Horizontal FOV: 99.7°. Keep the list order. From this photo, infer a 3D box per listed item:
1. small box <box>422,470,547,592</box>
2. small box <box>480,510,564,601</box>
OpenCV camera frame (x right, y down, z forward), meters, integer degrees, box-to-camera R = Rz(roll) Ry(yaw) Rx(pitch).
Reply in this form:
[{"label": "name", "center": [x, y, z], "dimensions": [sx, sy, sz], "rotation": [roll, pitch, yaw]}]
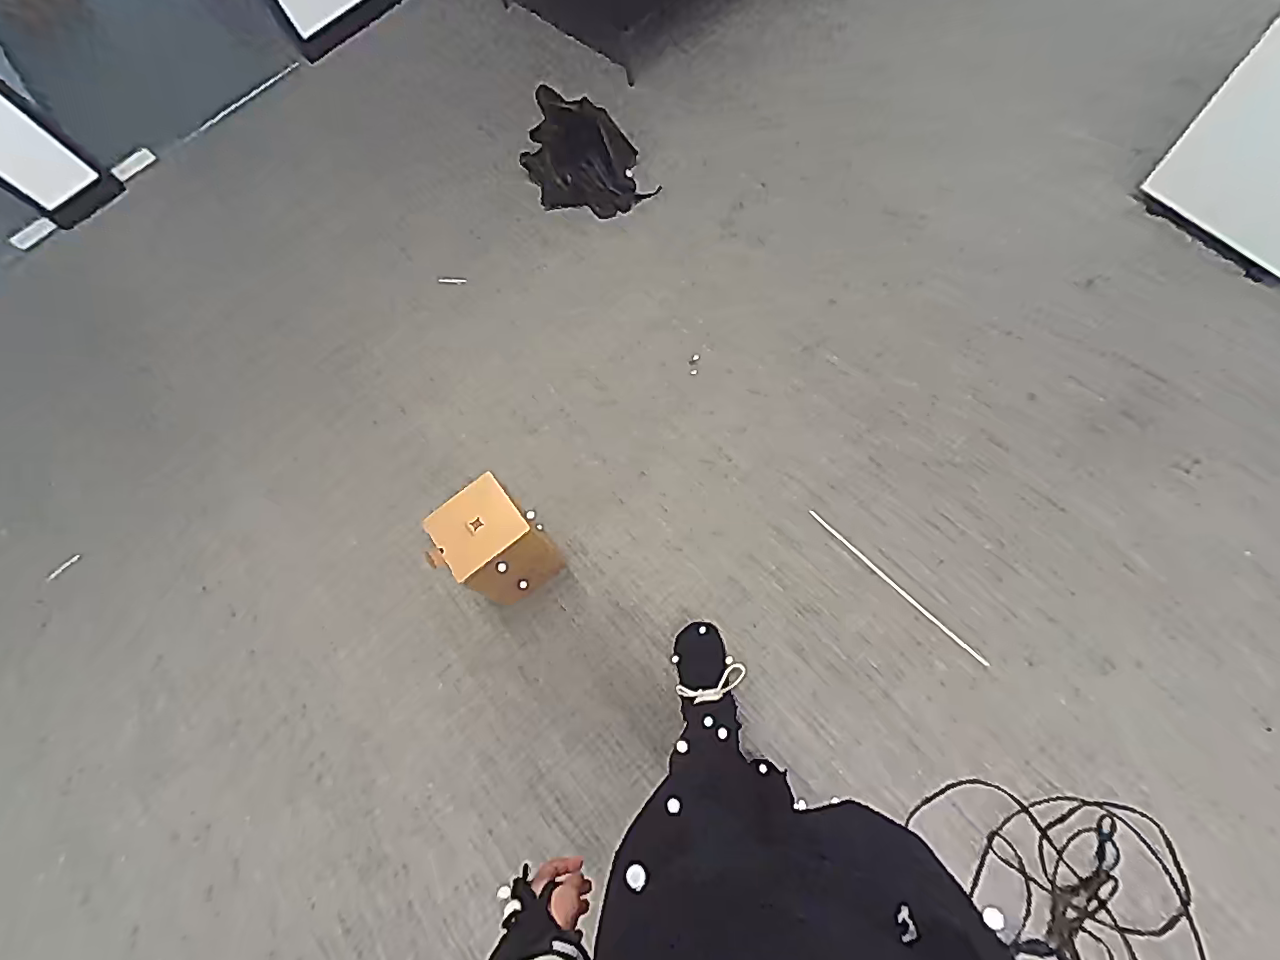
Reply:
[{"label": "small box", "center": [-0.317, 0.113, 1.147], "dimensions": [0.179, 0.176, 0.168], "rotation": [-38, 69, -6]}, {"label": "small box", "center": [-0.311, 0.171, 1.300], "dimensions": [0.179, 0.176, 0.168], "rotation": [-38, 69, -6]}]
